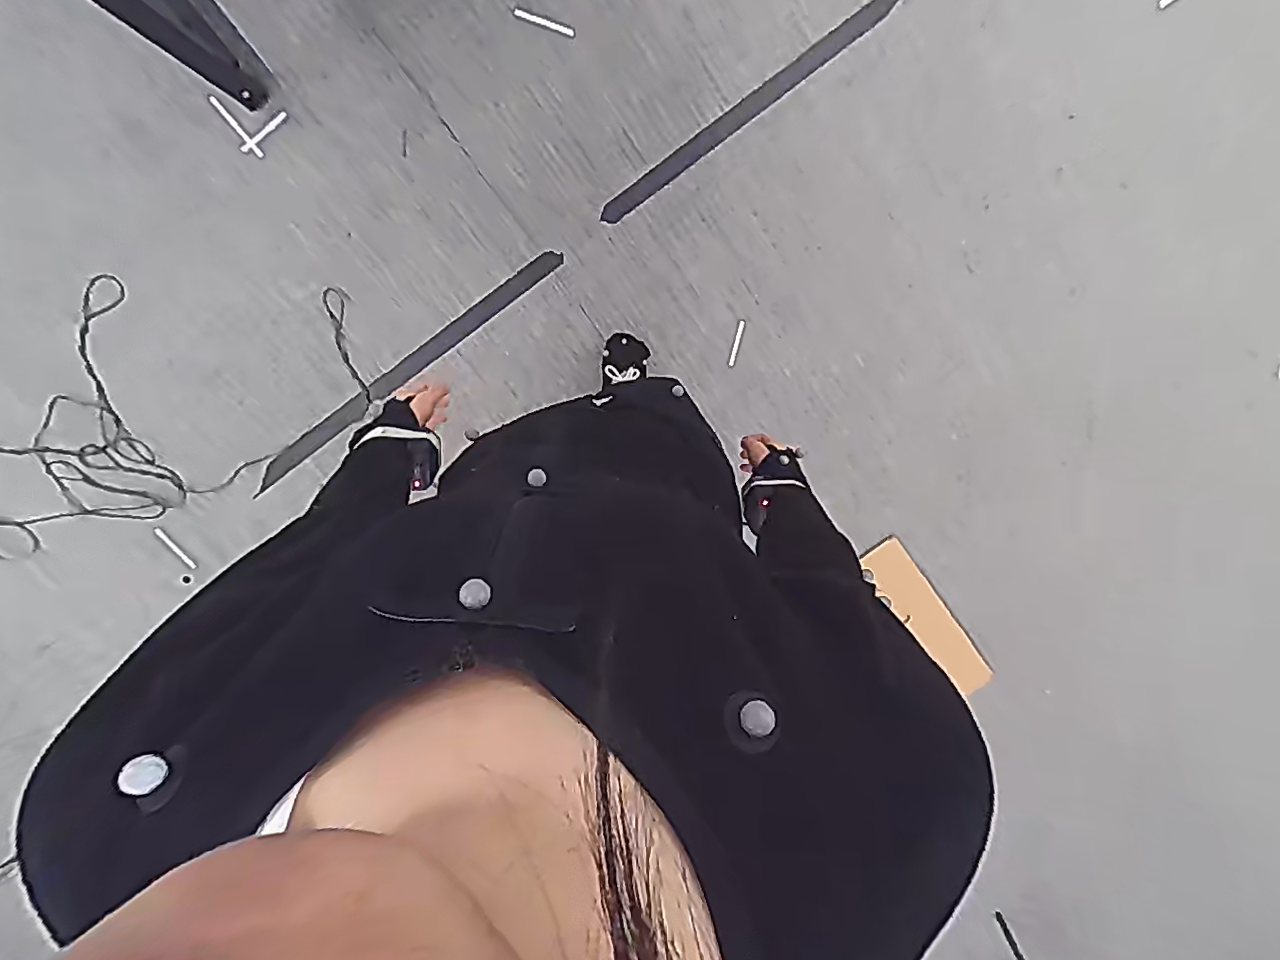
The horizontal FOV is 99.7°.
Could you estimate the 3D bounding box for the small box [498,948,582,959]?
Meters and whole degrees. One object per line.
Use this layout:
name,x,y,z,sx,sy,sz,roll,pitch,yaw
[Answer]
small box,-0.205,1.005,0.982,0.179,0.176,0.168,13,102,-6

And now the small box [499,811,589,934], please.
small box,-0.223,0.937,1.304,0.179,0.176,0.168,12,101,-5
